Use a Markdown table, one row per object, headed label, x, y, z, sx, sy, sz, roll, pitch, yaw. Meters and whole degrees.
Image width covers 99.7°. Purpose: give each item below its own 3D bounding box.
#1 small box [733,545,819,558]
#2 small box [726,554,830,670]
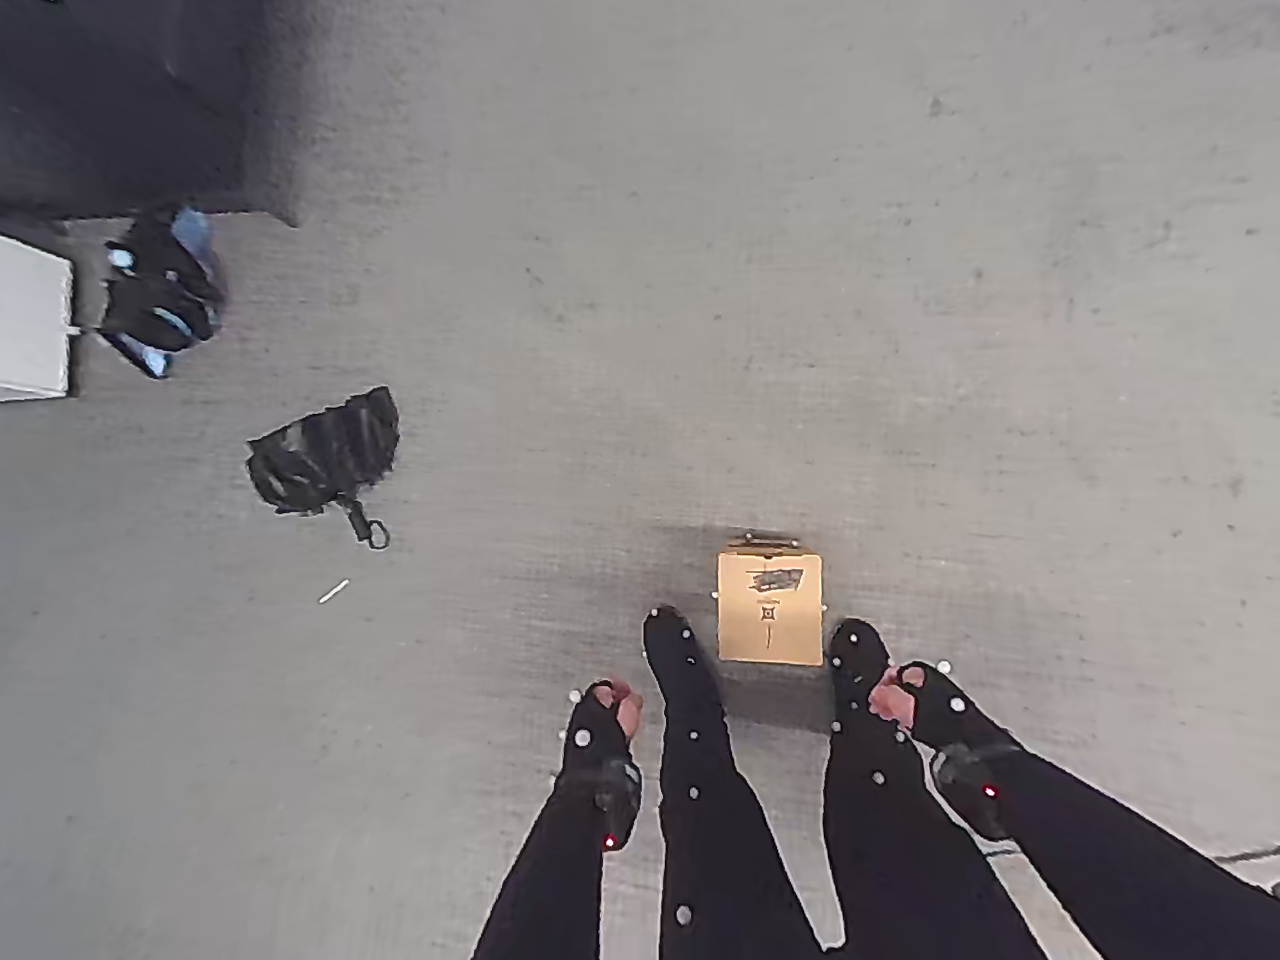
| label | x | y | z | sx | sy | sz | roll | pitch | yaw |
| --- | --- | --- | --- | --- | --- | --- | --- | --- | --- |
| small box | 0.278 | 0.226 | 1.116 | 0.168 | 0.176 | 0.179 | -1 | 87 | 13 |
| small box | 0.239 | 0.222 | 0.955 | 0.168 | 0.176 | 0.179 | -1 | 86 | 13 |
